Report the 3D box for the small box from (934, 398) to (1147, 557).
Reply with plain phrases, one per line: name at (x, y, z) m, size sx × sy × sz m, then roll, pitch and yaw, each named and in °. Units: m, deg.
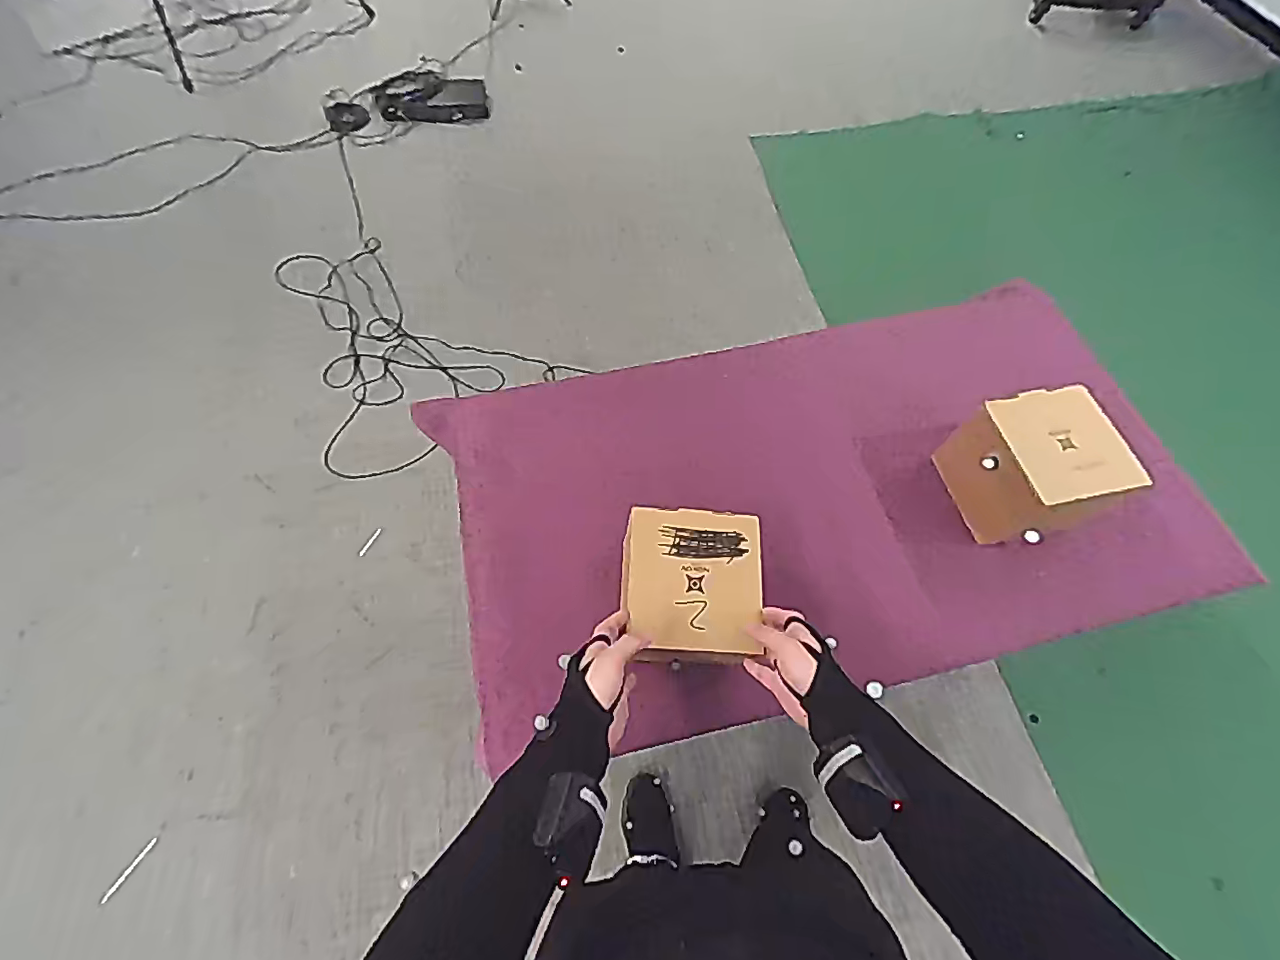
small box at (0.599, 0.000, 0.840) m, size 0.168 × 0.176 × 0.179 m, roll -10°, pitch 63°, yaw -5°
